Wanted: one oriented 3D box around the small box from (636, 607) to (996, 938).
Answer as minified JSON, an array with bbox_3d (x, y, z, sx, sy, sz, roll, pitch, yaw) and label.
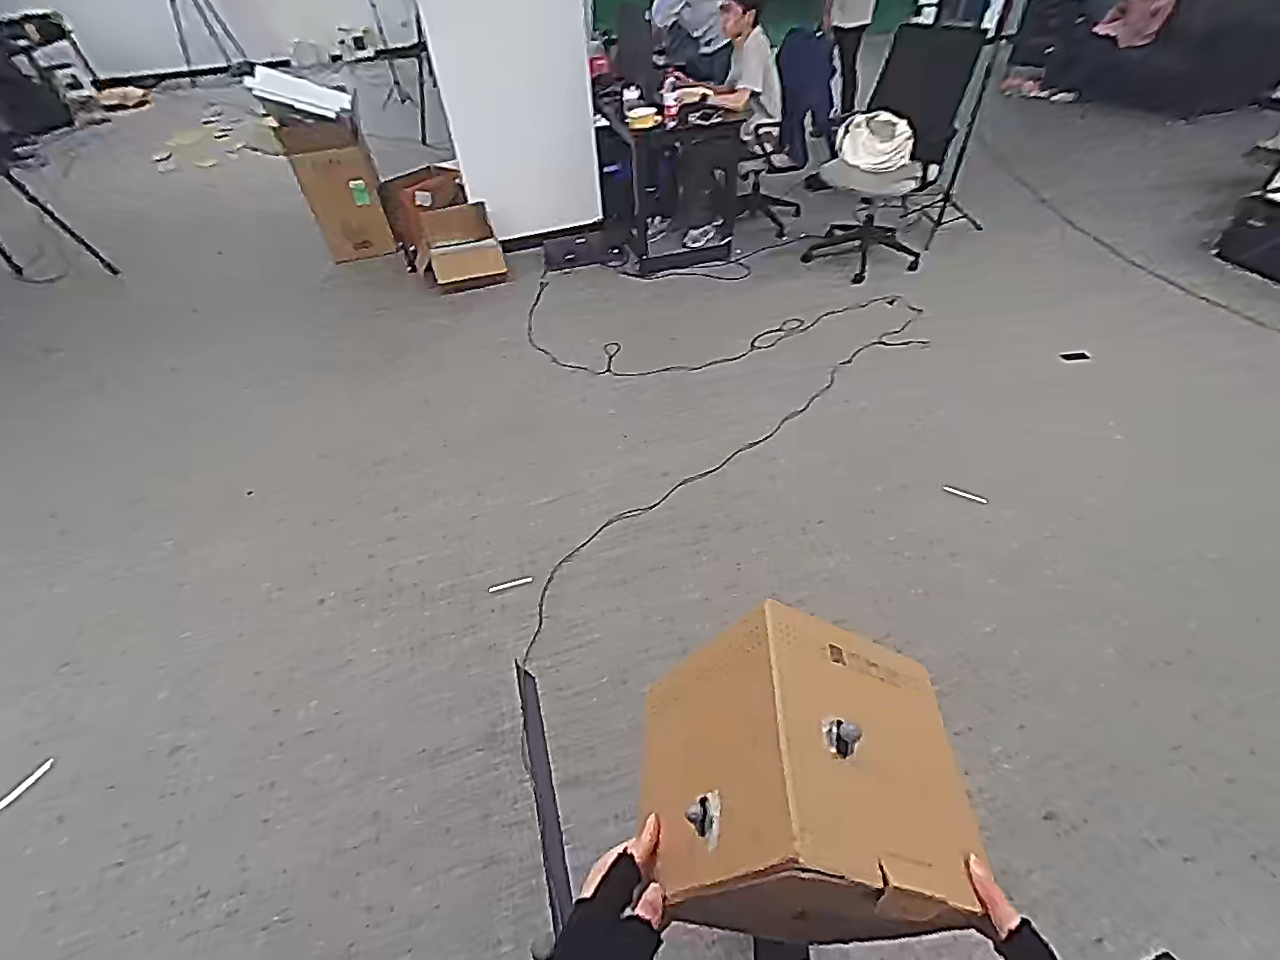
[{"bbox_3d":[0.110,0.224,0.414,0.168,0.179,0.176,25,40,-18],"label":"small box"}]
